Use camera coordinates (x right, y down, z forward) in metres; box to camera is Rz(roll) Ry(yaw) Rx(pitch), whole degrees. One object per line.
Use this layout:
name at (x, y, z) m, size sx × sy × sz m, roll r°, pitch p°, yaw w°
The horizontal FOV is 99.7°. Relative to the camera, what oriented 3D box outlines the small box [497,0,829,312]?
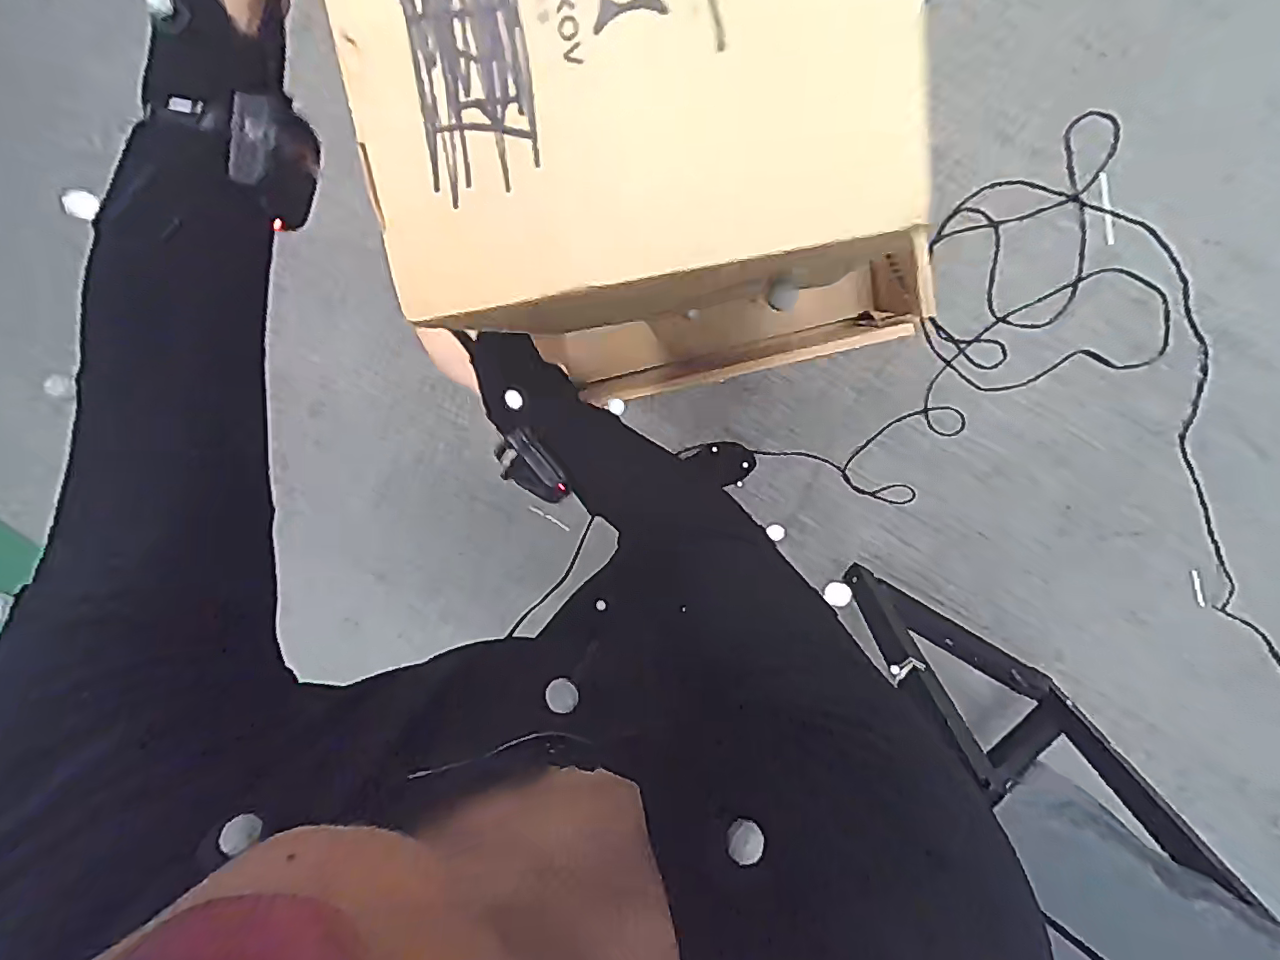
small box at (0.027, -0.226, 0.397) m, size 0.179 × 0.176 × 0.168 m, roll -9°, pitch 102°, yaw 13°
